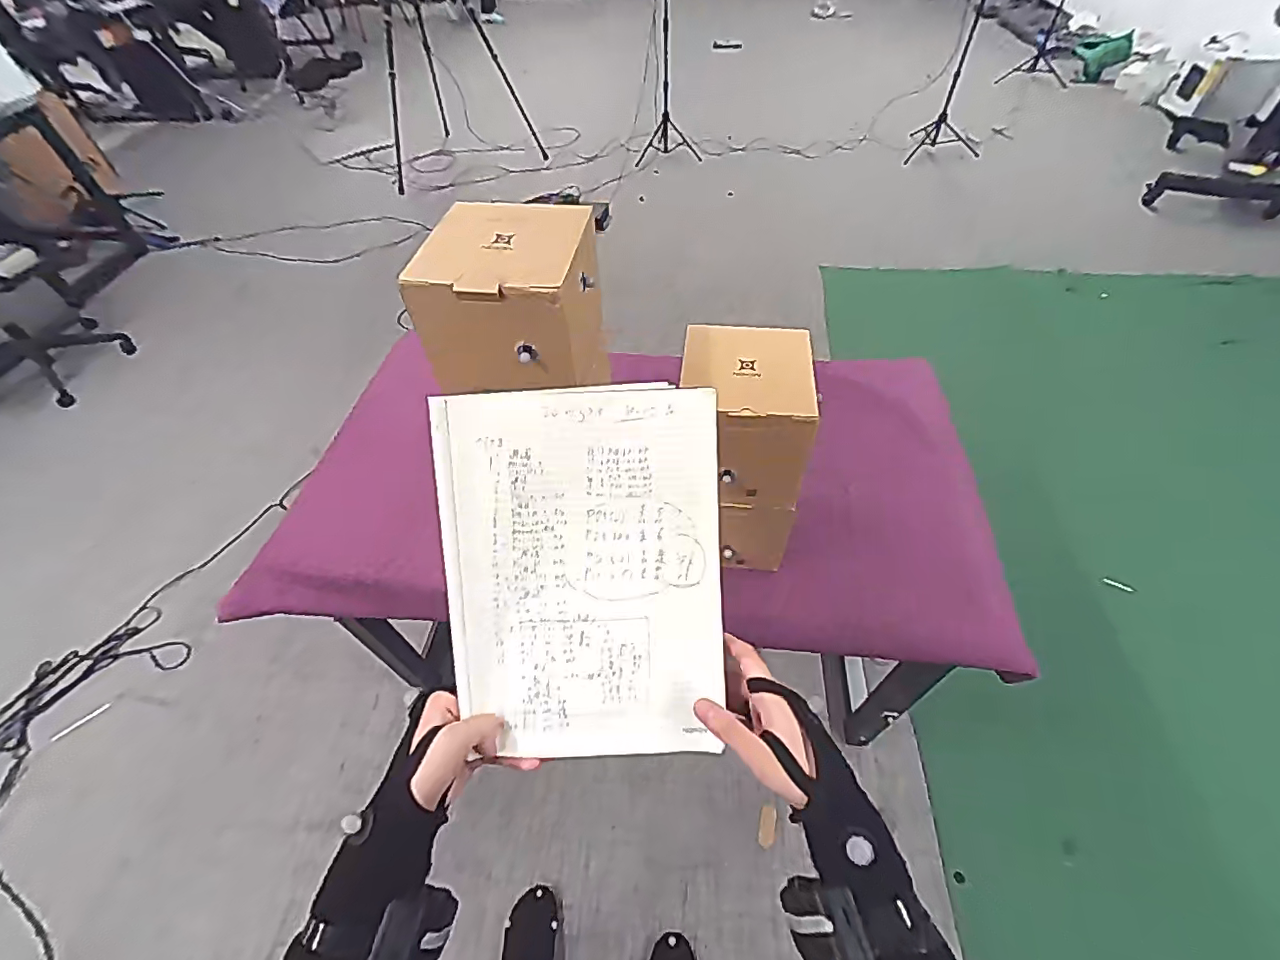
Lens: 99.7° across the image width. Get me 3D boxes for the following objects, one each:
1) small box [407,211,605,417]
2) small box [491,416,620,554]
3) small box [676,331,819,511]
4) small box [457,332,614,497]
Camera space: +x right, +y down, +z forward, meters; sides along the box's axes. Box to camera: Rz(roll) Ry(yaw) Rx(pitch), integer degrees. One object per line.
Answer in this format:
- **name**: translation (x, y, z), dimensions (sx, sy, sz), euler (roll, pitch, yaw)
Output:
- **small box**: translation (-0.138, -0.194, 0.641), dimensions (0.168, 0.176, 0.179), euler (6, 50, 6)
- **small box**: translation (-0.126, 0.007, 0.900), dimensions (0.168, 0.176, 0.179), euler (5, 51, 5)
- **small box**: translation (0.140, -0.081, 0.747), dimensions (0.168, 0.176, 0.179), euler (5, 50, 6)
- **small box**: translation (-0.132, -0.094, 0.769), dimensions (0.168, 0.176, 0.179), euler (4, 50, 6)
